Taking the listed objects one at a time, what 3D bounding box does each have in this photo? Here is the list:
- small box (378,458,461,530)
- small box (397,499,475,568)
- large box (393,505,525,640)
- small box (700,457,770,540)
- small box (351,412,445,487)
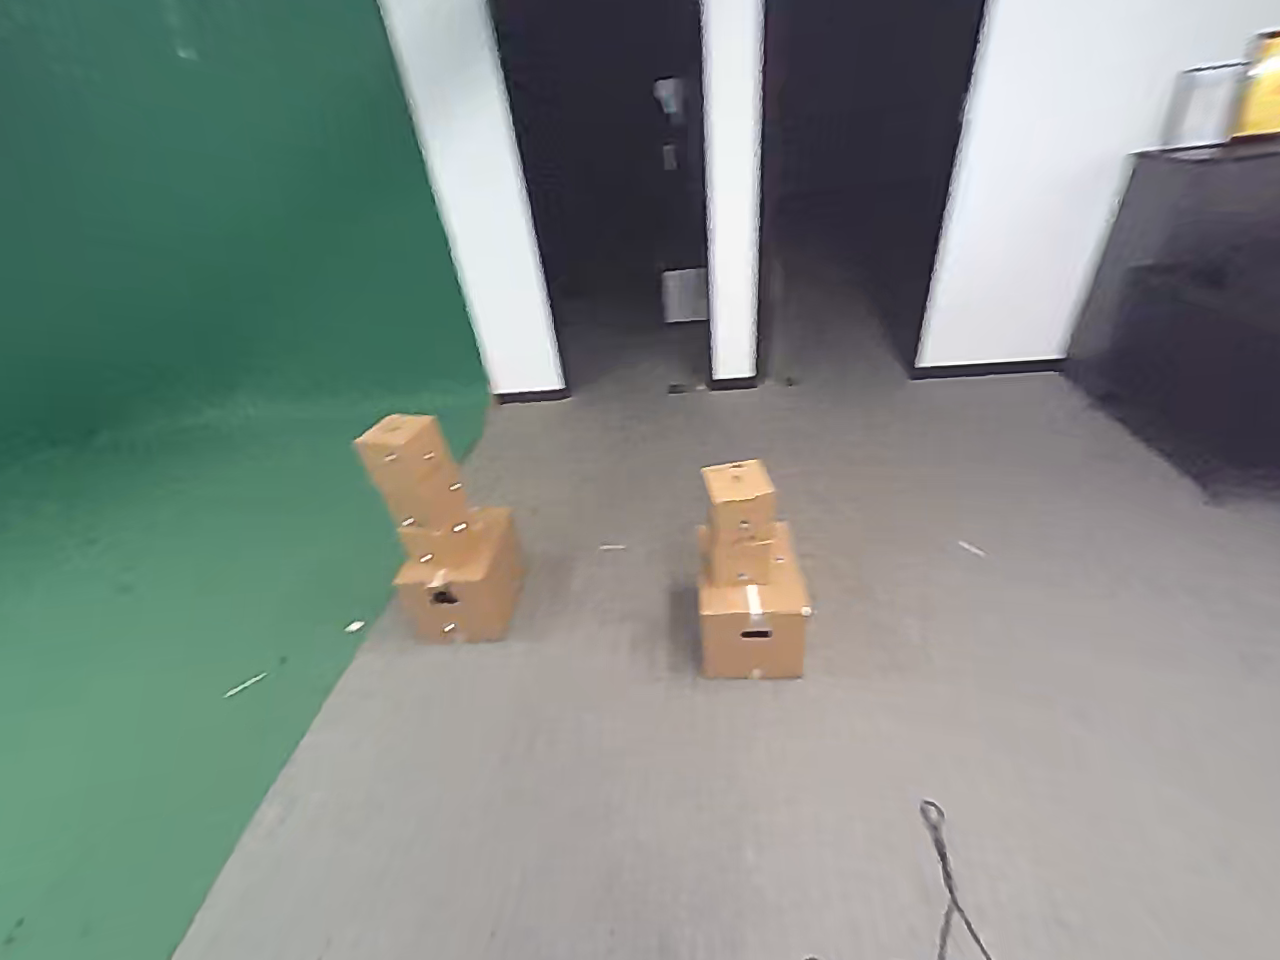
[{"bbox_3d":[-0.709,0.038,1.767,0.168,0.176,0.179,4,38,18],"label":"small box"},{"bbox_3d":[-0.688,0.175,1.852,0.168,0.176,0.179,3,37,15],"label":"small box"},{"bbox_3d":[-0.654,0.342,2.032,0.320,0.320,0.408,-3,34,6],"label":"large box"},{"bbox_3d":[0.273,0.059,1.561,0.168,0.176,0.179,-9,36,0],"label":"small box"},{"bbox_3d":[-0.737,-0.093,1.671,0.179,0.176,0.168,5,37,18],"label":"small box"}]
